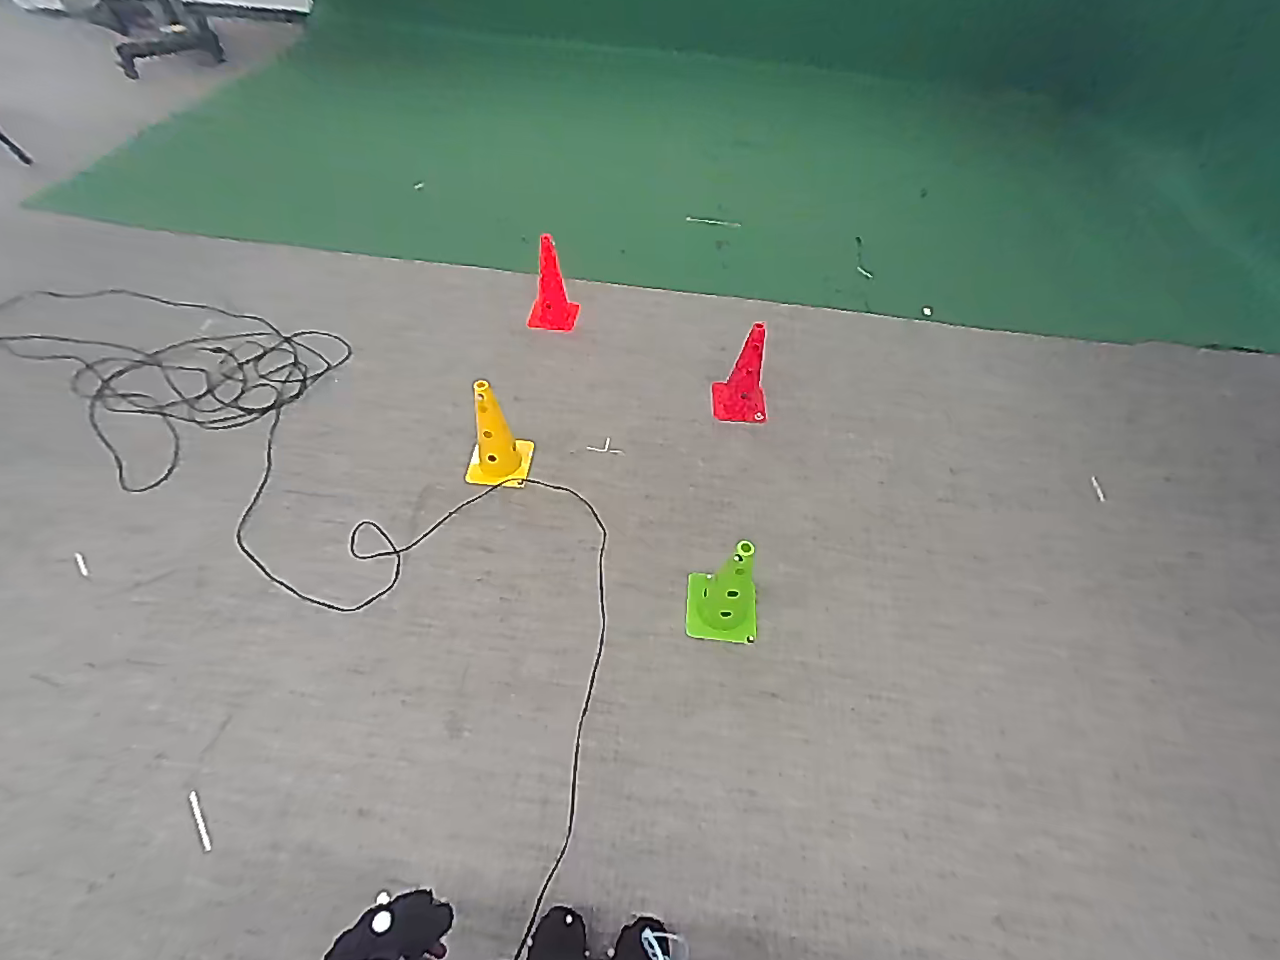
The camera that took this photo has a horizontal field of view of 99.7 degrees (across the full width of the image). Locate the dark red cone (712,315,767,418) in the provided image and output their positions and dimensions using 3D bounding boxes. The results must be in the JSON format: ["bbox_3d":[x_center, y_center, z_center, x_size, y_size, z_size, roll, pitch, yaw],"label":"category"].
[{"bbox_3d":[0.383,-0.409,1.919,0.202,0.394,0.201,3,52,-1],"label":"dark red cone"}]

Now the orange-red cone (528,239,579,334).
[{"bbox_3d":[-0.368,-0.802,2.201,0.198,0.360,0.199,7,54,3],"label":"orange-red cone"}]

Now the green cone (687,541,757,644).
[{"bbox_3d":[0.242,0.268,1.429,0.202,0.368,0.200,5,52,2],"label":"green cone"}]
